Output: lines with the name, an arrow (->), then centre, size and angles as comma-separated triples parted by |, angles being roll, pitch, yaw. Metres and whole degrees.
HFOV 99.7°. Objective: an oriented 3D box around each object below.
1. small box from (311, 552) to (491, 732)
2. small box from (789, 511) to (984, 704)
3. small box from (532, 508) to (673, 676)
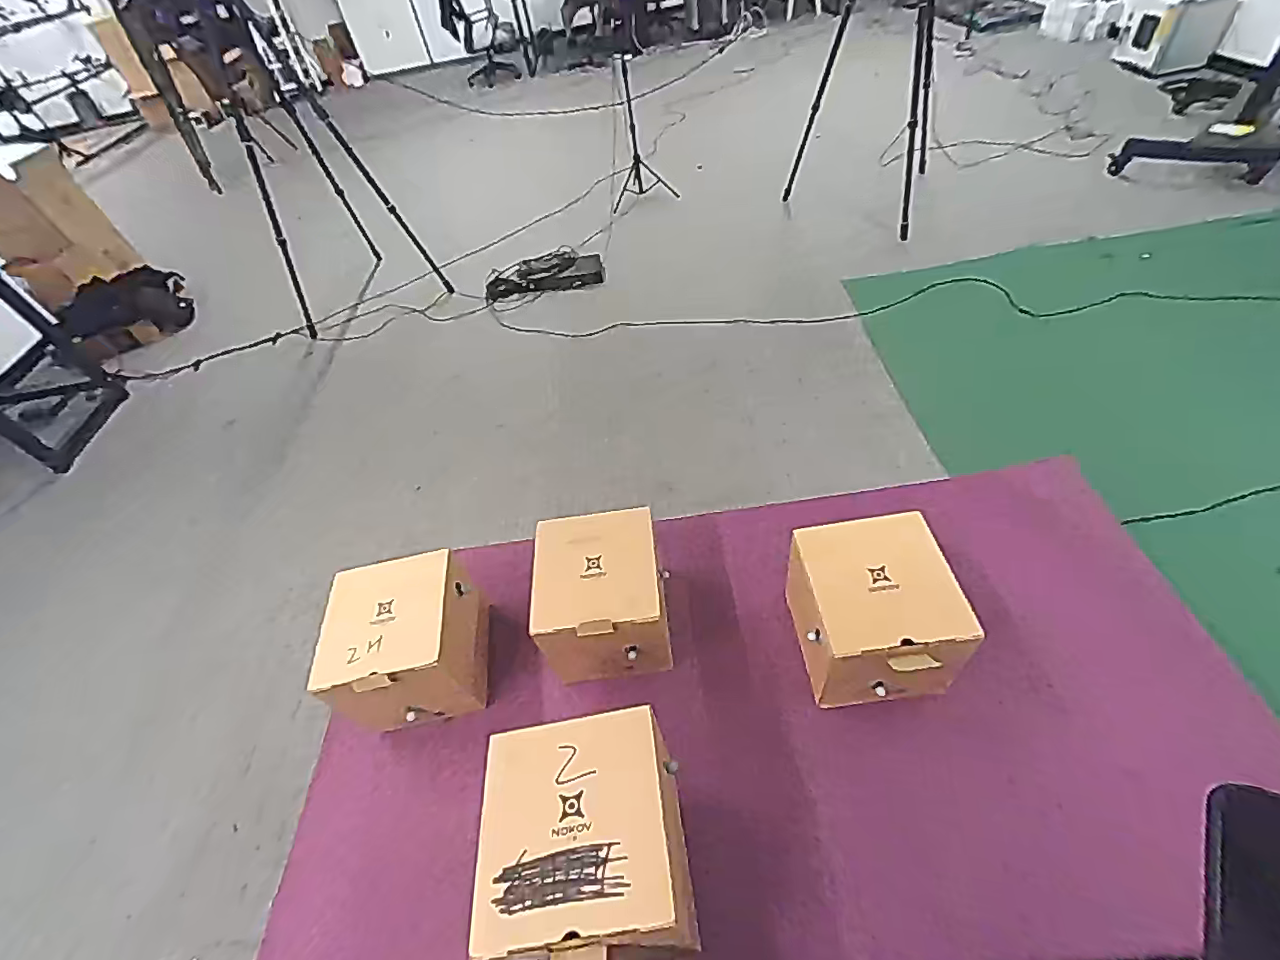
small box -> -0.322, 0.232, 0.772 | 0.168, 0.176, 0.179 | -13, 49, 1
small box -> 0.298, 0.167, 0.703 | 0.168, 0.176, 0.179 | -10, 49, 4
small box -> -0.047, 0.167, 0.774 | 0.168, 0.176, 0.179 | -8, 49, 3
